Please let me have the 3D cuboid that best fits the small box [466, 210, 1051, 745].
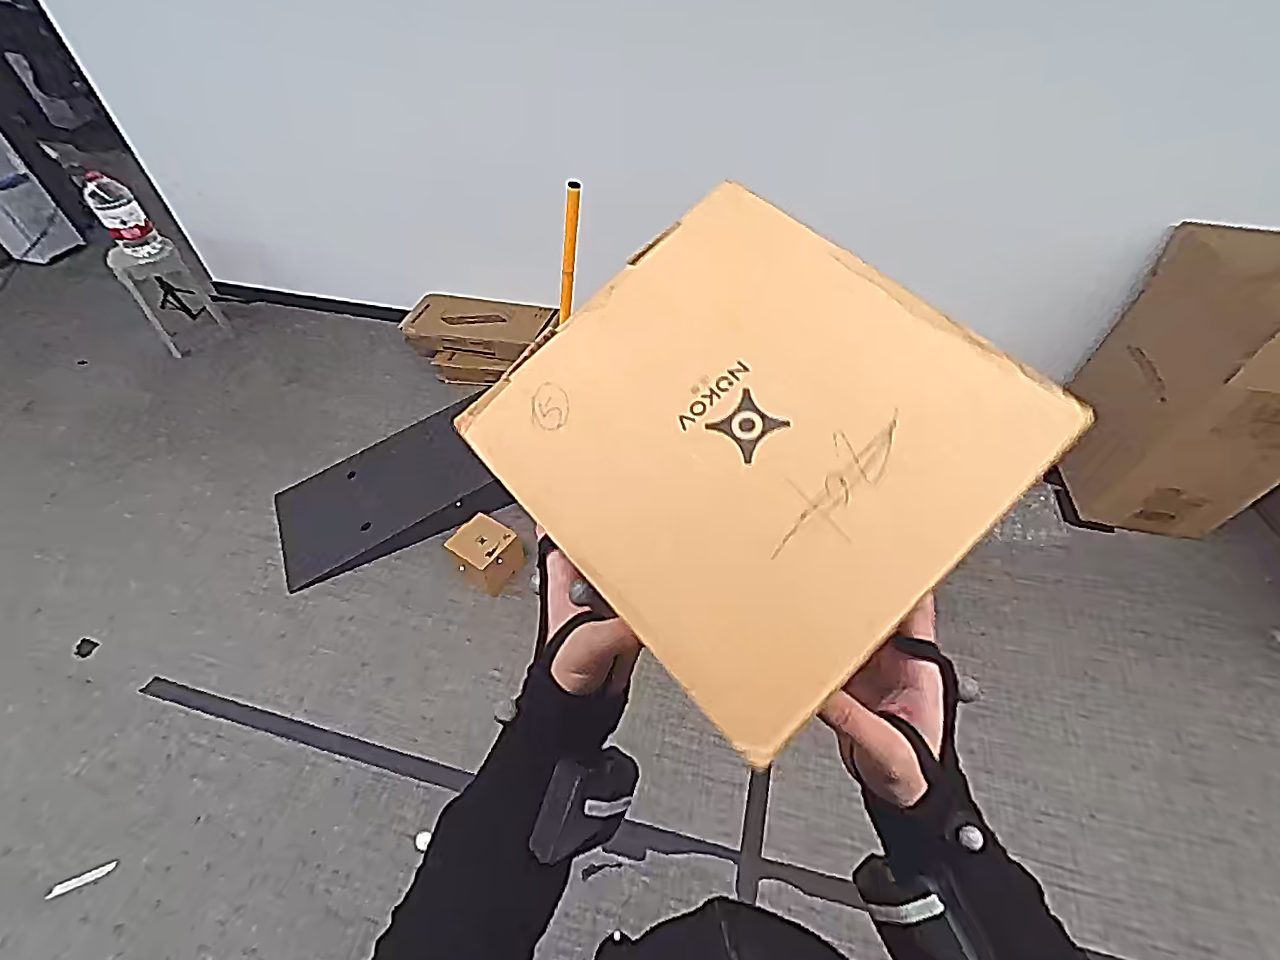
[{"bbox_3d":[0.050,0.007,0.293,0.179,0.176,0.168,42,84,19],"label":"small box"}]
